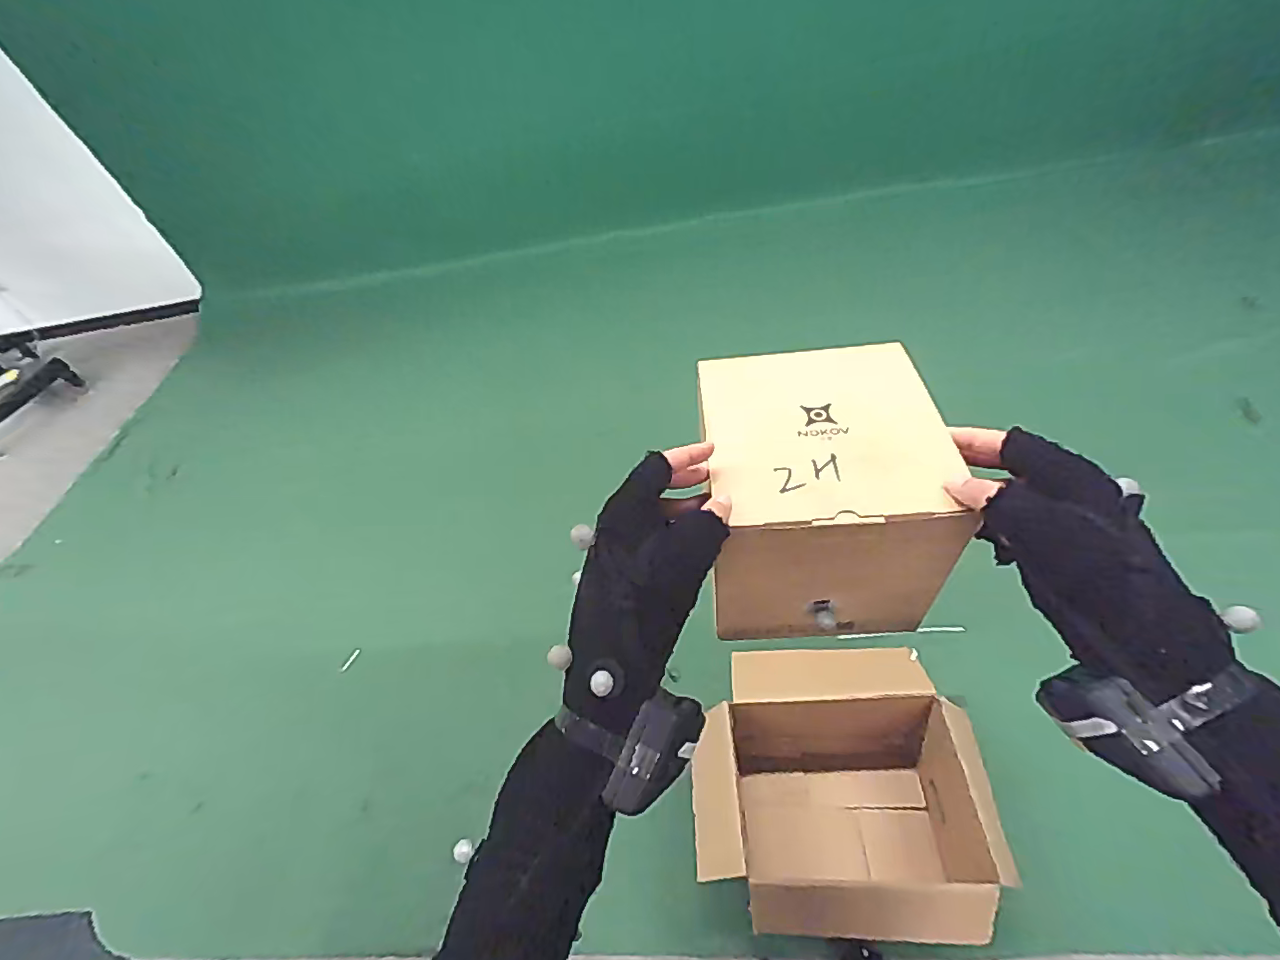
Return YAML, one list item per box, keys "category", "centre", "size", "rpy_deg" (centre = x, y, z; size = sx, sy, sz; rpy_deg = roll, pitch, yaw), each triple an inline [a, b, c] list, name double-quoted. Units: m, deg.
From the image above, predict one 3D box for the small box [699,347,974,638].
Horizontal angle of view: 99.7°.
- category: "small box"
  centre: [0.137, 0.013, 0.456]
  size: [0.168, 0.176, 0.179]
  rpy_deg: [-5, 48, 6]
